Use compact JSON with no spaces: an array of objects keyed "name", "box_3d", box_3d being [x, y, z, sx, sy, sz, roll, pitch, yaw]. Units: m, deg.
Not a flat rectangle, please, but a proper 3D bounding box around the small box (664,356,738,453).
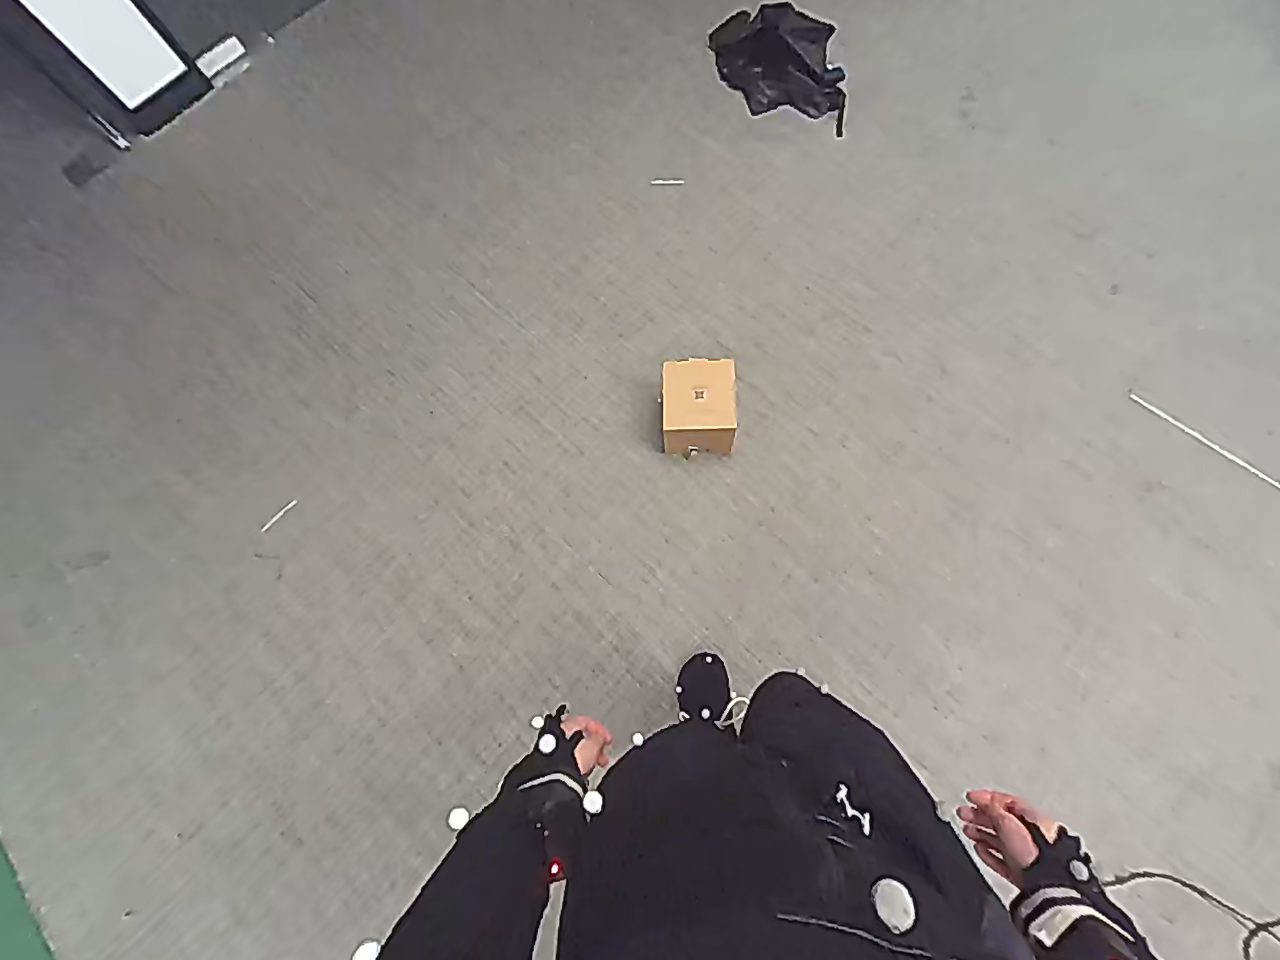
[{"name":"small box","box_3d":[0.141,-0.175,1.283,0.168,0.176,0.179,-1,73,5]}]
